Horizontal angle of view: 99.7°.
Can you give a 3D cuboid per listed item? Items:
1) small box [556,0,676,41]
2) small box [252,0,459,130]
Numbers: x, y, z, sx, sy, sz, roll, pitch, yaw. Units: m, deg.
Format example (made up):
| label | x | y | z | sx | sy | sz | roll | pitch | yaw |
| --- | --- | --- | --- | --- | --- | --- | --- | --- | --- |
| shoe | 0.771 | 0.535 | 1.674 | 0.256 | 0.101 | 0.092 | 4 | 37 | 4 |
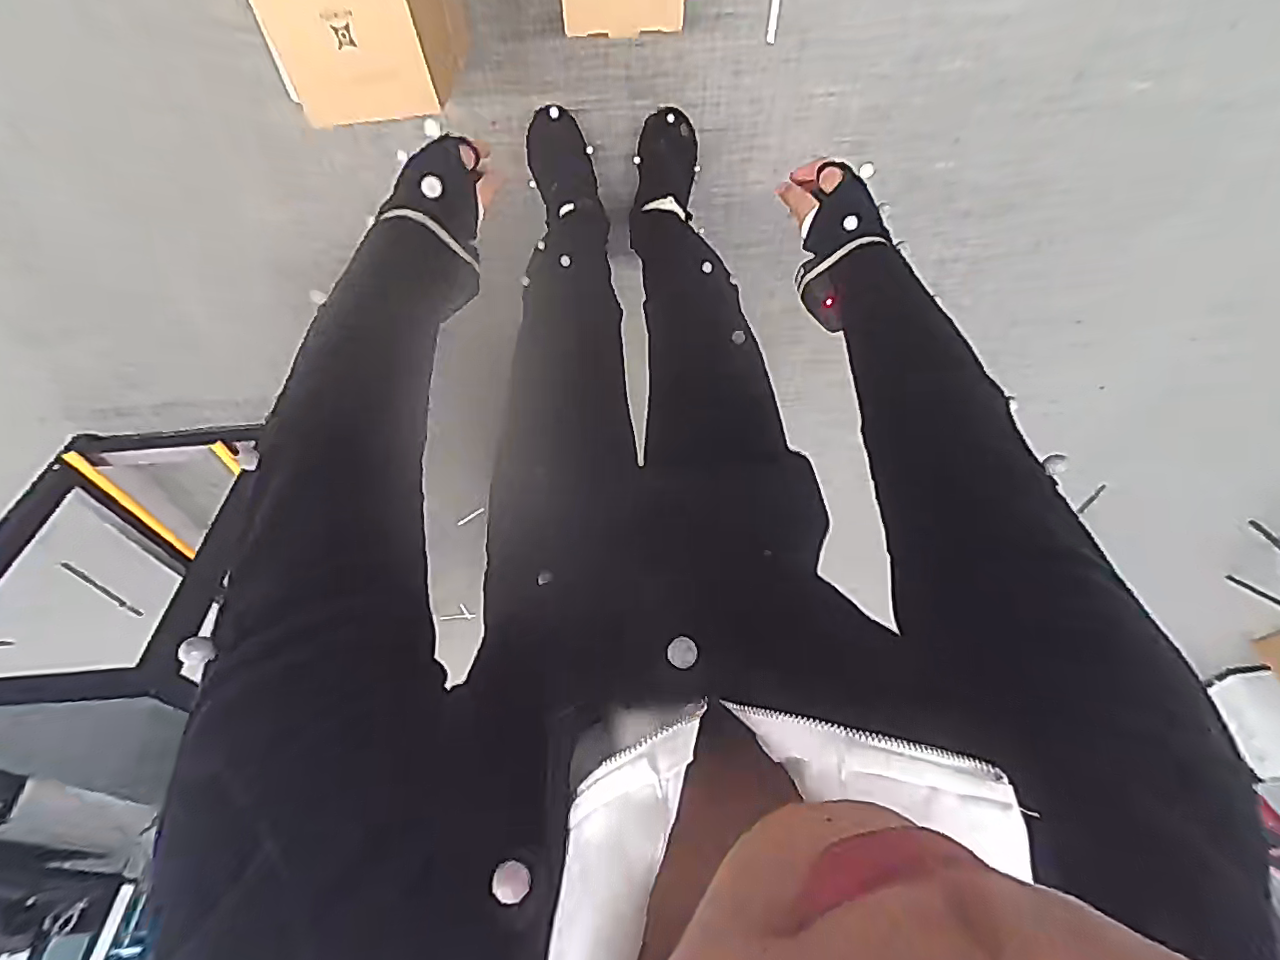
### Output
| label | x | y | z | sx | sy | sz | roll | pitch | yaw |
| --- | --- | --- | --- | --- | --- | --- | --- | --- | --- |
| small box | -0.036 | -0.736 | 0.741 | 0.168 | 0.176 | 0.179 | -4 | 141 | -1 |
| small box | -0.337 | -0.562 | 0.658 | 0.168 | 0.176 | 0.179 | -6 | 141 | 3 |
